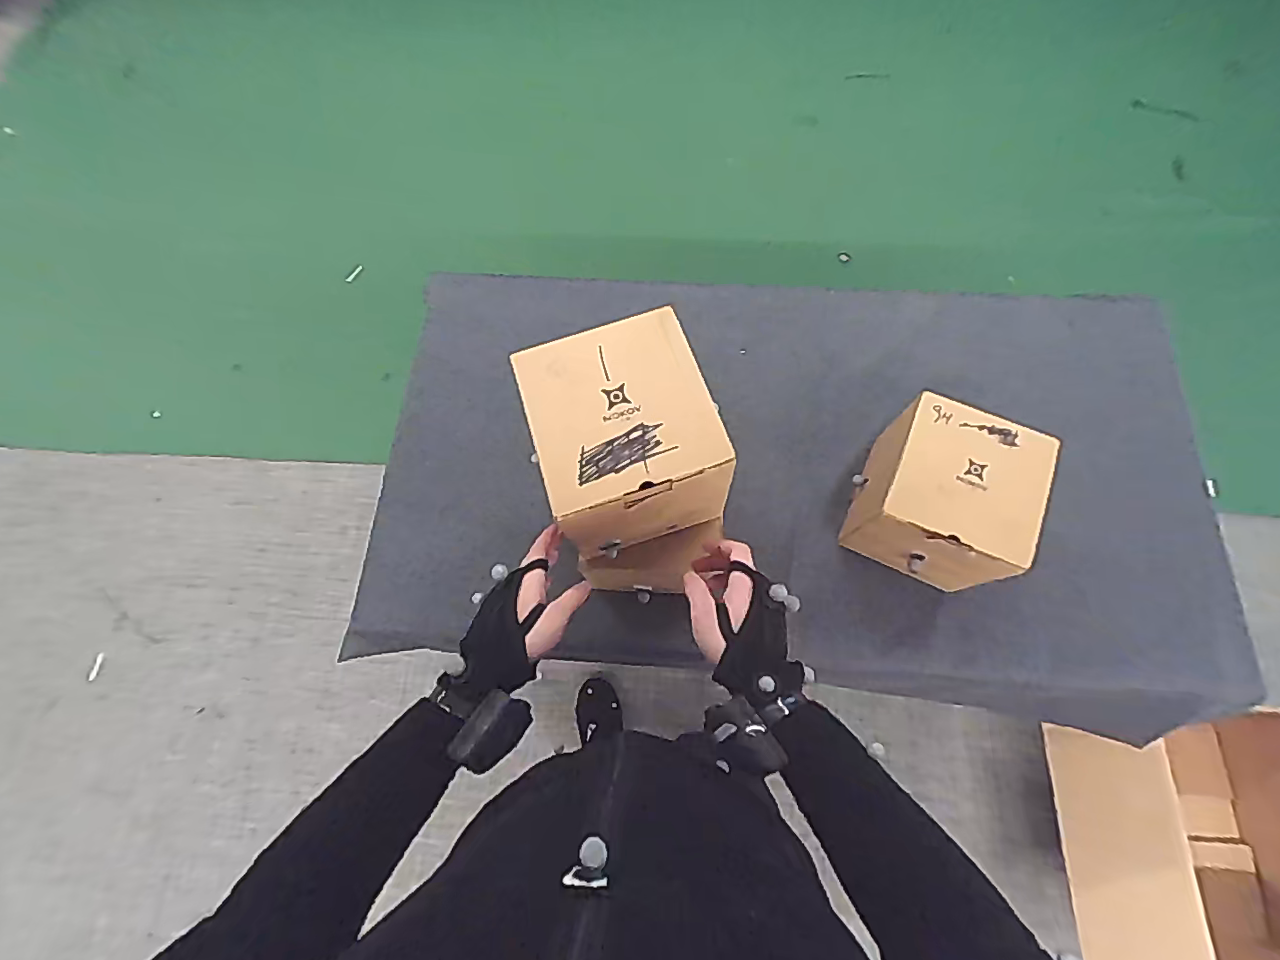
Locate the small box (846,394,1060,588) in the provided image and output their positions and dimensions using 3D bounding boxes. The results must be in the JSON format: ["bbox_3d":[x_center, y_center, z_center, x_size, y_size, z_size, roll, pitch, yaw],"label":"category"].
[{"bbox_3d":[0.391,0.024,0.706,0.168,0.176,0.179,24,74,10],"label":"small box"}]

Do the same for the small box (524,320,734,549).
[{"bbox_3d":[-0.010,-0.035,0.585,0.168,0.176,0.179,-17,68,-4],"label":"small box"}]

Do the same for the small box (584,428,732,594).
[{"bbox_3d":[0.025,0.044,0.696,0.168,0.176,0.179,1,71,3],"label":"small box"}]
